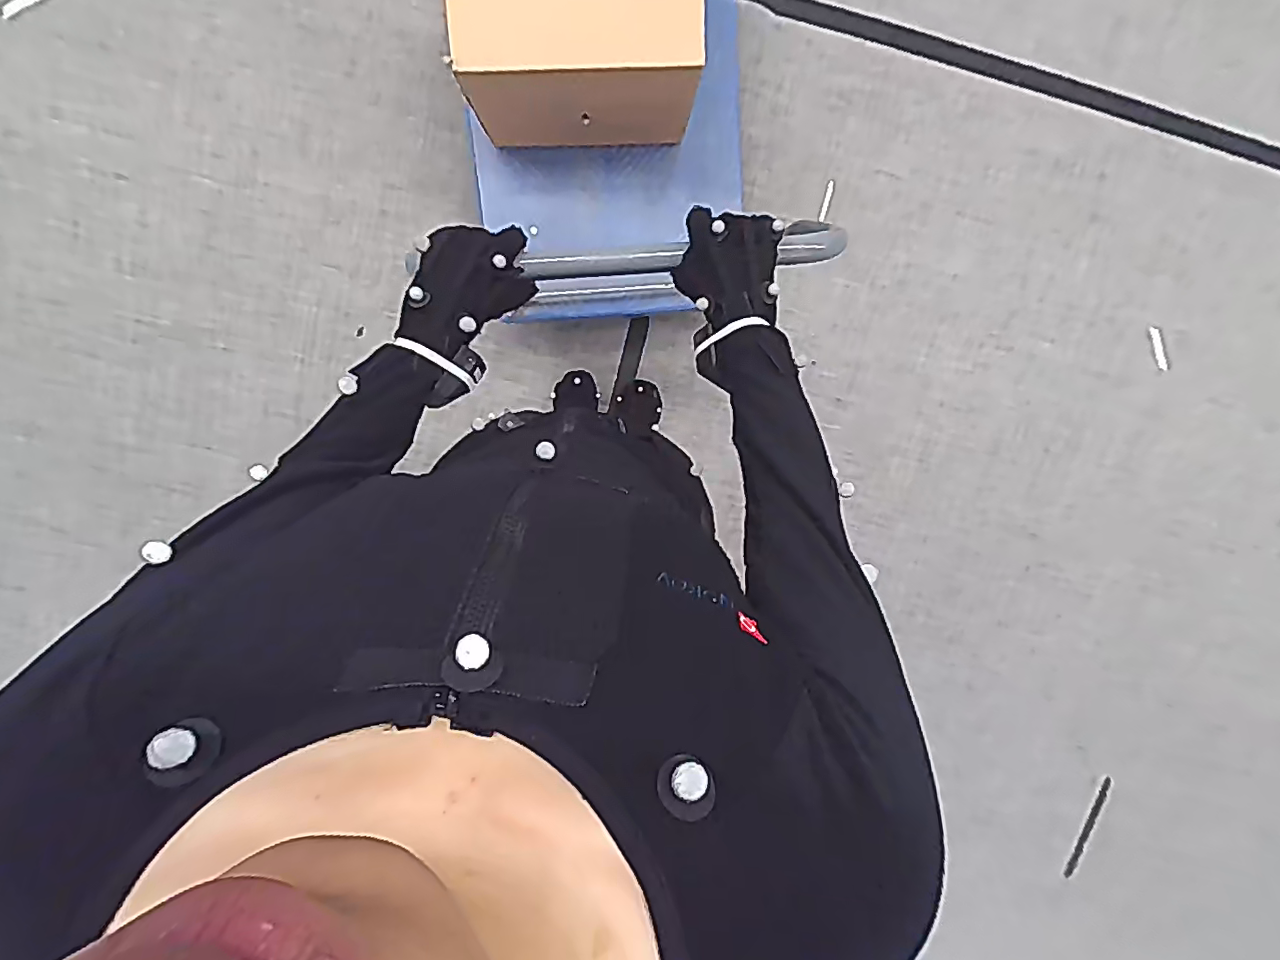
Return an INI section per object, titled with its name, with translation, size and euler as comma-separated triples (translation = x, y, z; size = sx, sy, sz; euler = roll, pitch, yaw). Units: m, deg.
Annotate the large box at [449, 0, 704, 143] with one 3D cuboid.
[large box]
translation = -0.105, -0.839, 0.976
size = 0.408, 0.320, 0.320
euler = -3, 102, -1
